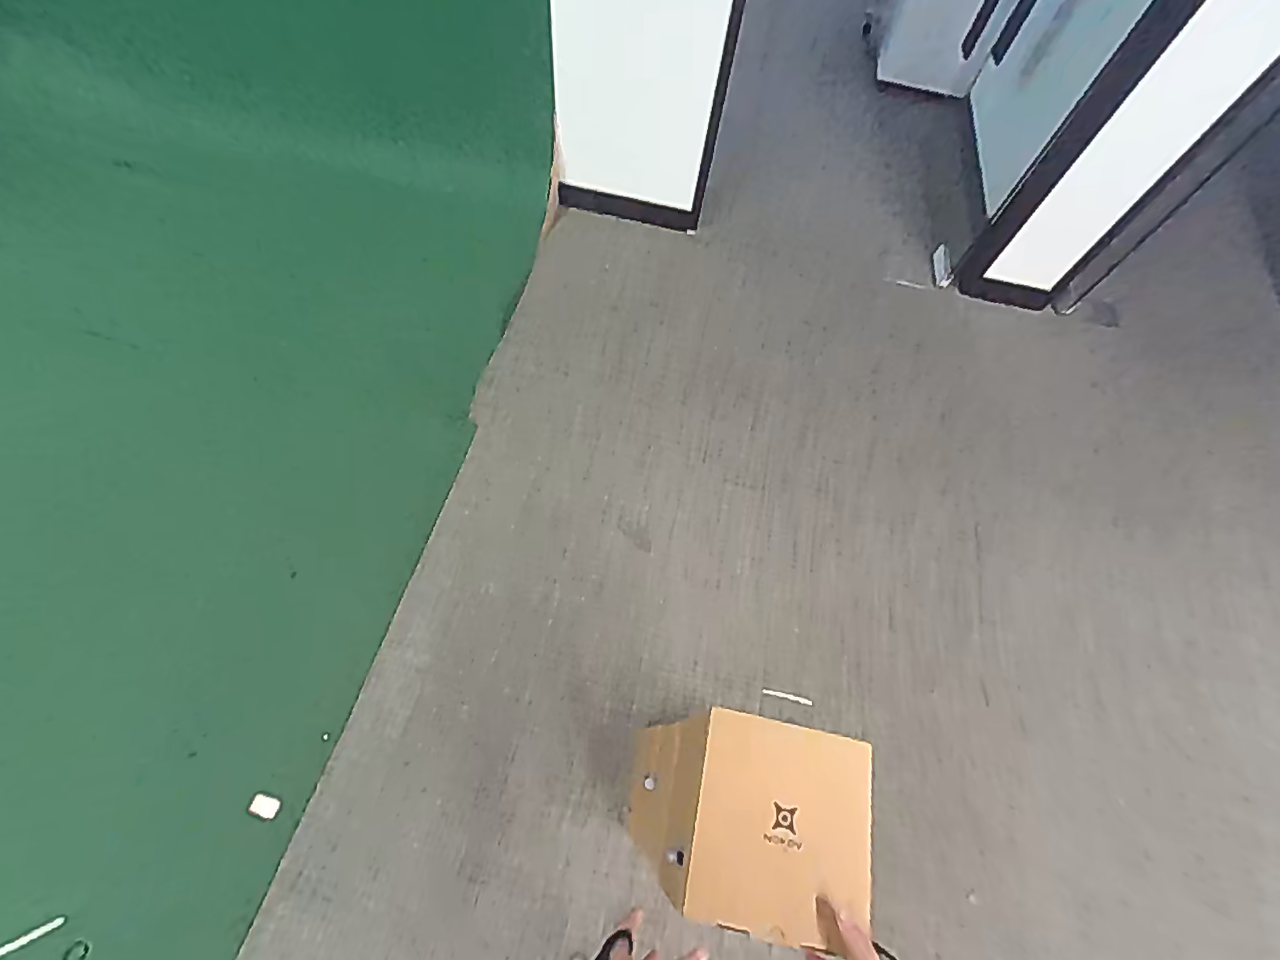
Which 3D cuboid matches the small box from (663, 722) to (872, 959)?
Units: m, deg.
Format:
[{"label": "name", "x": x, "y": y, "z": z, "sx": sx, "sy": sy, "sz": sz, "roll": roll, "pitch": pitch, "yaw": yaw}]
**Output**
[{"label": "small box", "x": 0.125, "y": 0.370, "z": 0.568, "sx": 0.168, "sy": 0.176, "sz": 0.179, "roll": 13, "pitch": 62, "yaw": 1}]
